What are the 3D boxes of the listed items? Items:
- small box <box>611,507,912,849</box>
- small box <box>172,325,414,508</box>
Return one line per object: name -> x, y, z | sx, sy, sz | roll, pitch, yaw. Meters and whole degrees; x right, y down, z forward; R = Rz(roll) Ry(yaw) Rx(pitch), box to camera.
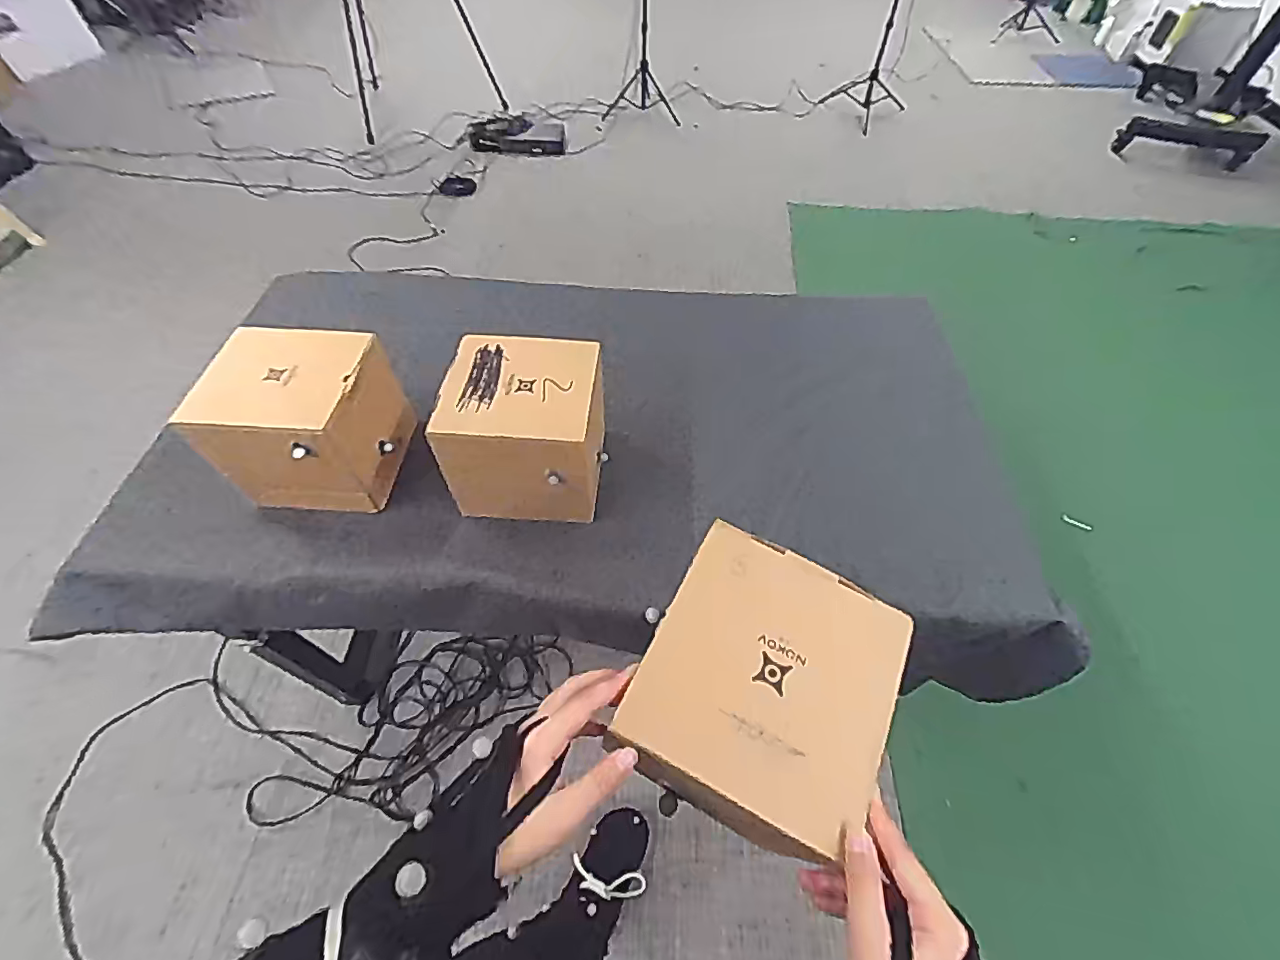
small box -> 0.085, 0.160, 0.443 | 0.168, 0.176, 0.179 | 28, 60, 10
small box -> -0.422, -0.077, 0.697 | 0.179, 0.176, 0.168 | 3, 54, 0
